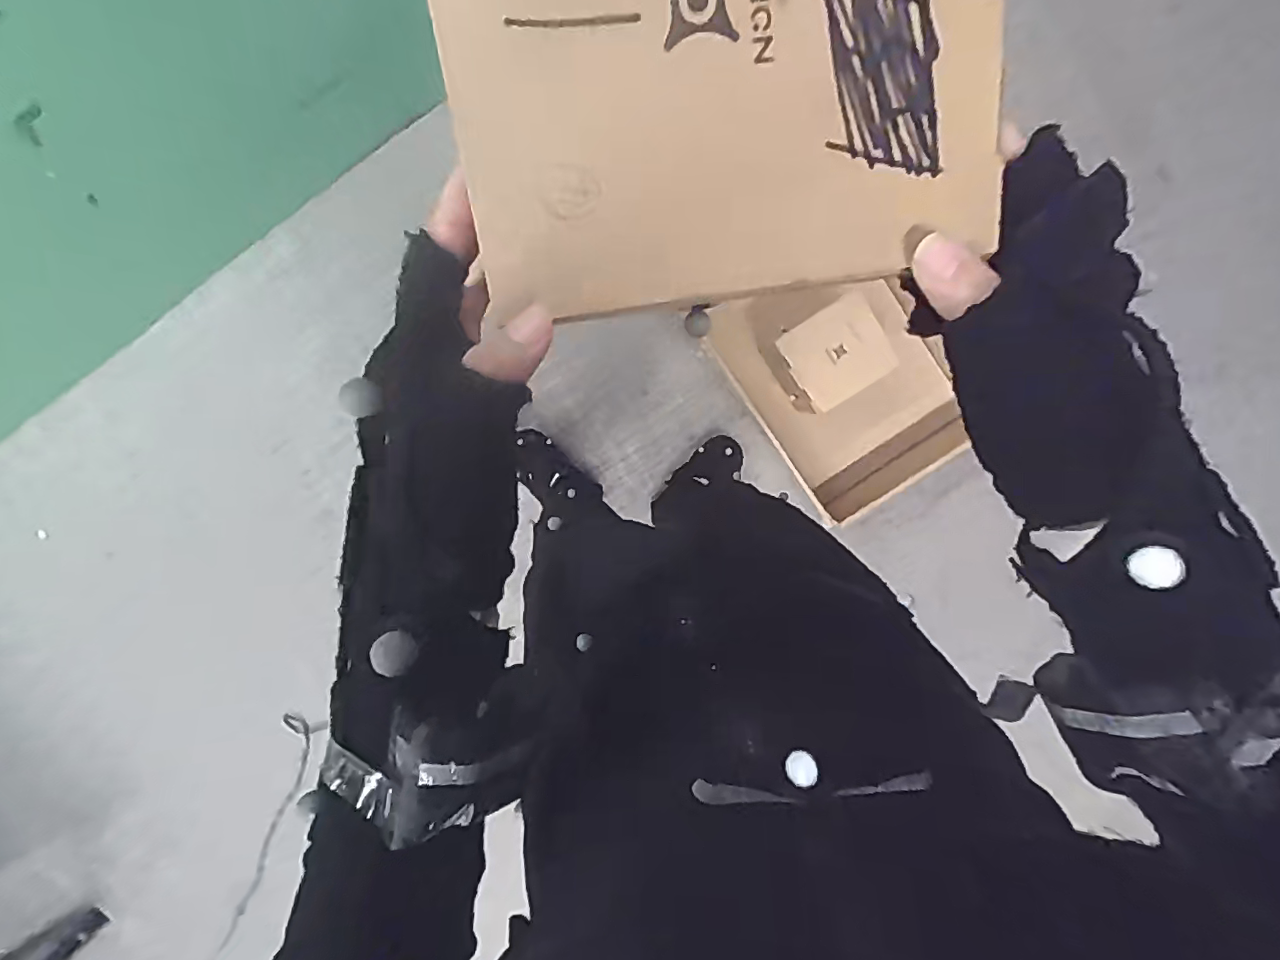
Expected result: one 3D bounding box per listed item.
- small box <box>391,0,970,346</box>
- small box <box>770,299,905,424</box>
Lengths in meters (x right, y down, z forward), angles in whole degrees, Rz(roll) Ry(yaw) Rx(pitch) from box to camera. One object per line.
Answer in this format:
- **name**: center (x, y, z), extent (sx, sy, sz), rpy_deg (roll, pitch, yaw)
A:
- **small box**: center (0.012, -0.157, 0.241), extent (0.179, 0.176, 0.168), rpy_deg (-8, 106, 1)
- **small box**: center (0.373, -0.226, 1.064), extent (0.179, 0.176, 0.168), rpy_deg (-33, 97, 6)
